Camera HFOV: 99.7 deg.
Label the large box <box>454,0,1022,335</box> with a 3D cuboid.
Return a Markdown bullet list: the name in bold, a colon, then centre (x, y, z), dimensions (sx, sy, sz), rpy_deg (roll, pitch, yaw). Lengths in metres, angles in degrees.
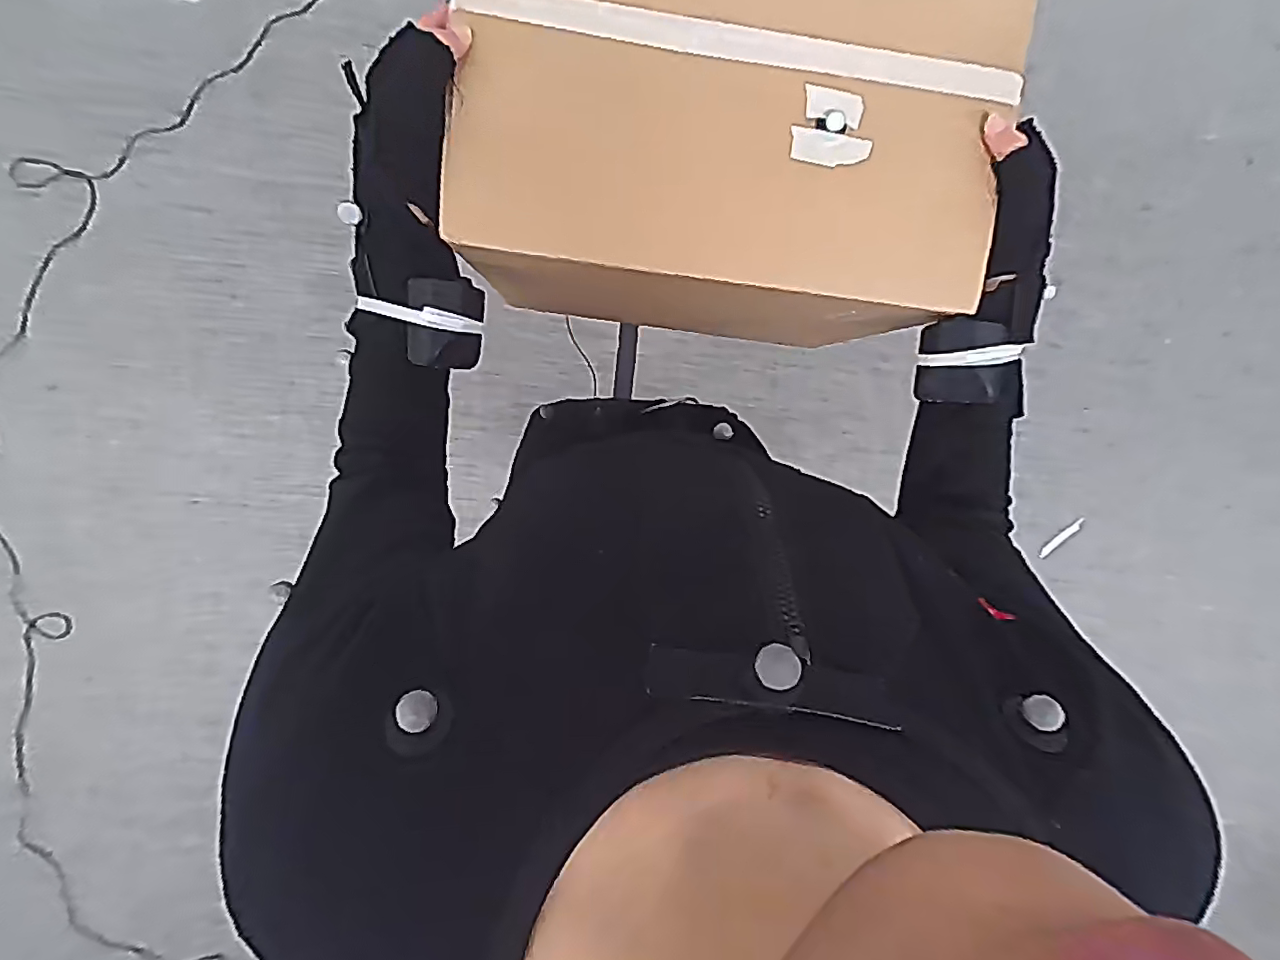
- **large box**: centre (0.061, -0.334, 0.533), dimensions (0.408, 0.320, 0.320), rpy_deg (6, 100, -6)
